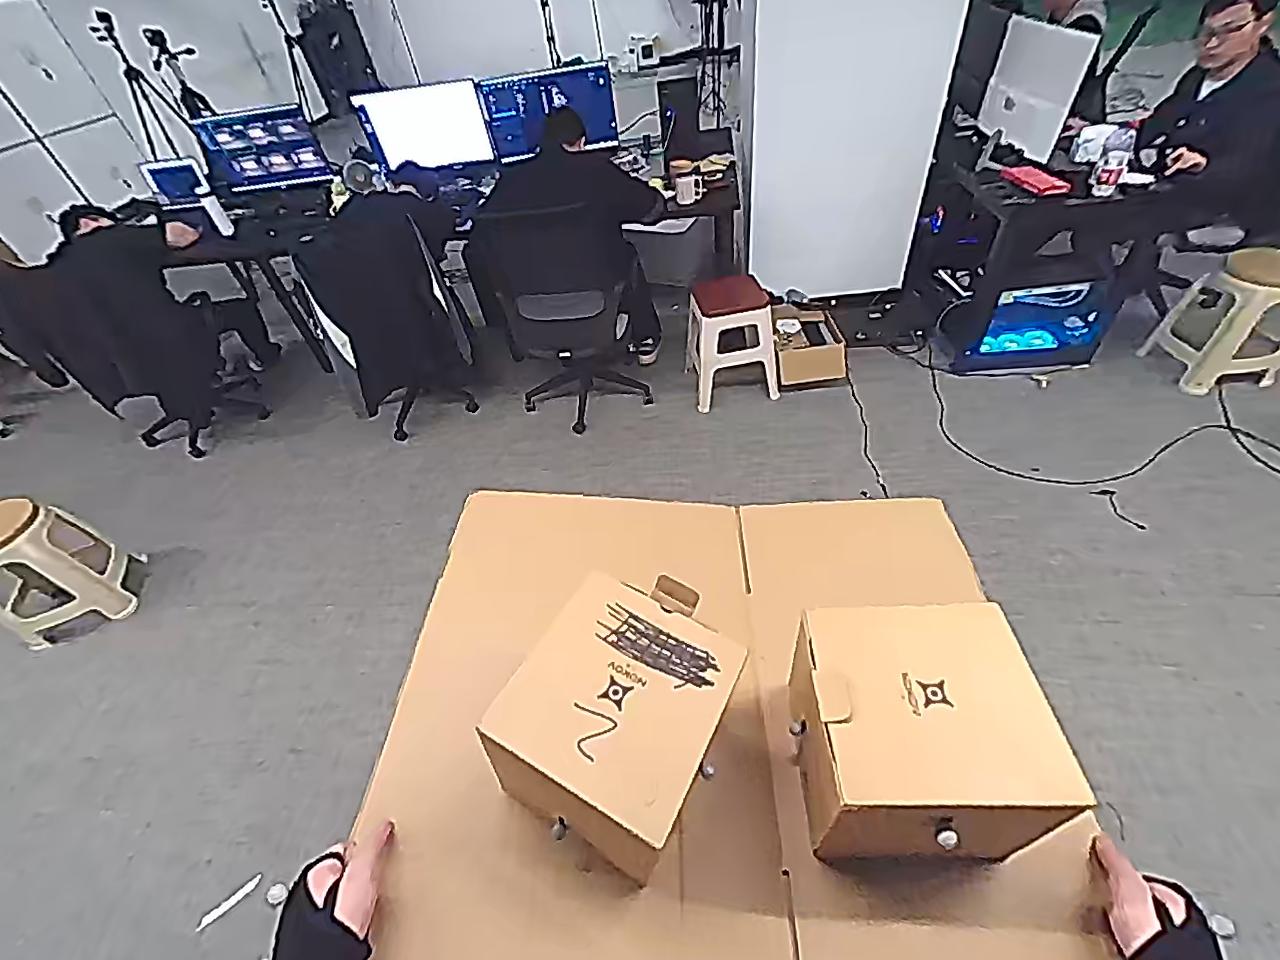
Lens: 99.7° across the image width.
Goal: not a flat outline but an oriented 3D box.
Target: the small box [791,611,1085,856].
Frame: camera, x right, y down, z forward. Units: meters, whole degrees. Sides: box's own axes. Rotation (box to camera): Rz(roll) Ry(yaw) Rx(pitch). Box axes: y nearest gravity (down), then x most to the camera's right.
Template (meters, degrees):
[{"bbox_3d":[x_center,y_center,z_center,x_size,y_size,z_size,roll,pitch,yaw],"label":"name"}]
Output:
[{"bbox_3d":[0.250,0.240,0.512,0.179,0.176,0.168,-4,45,6],"label":"small box"}]
